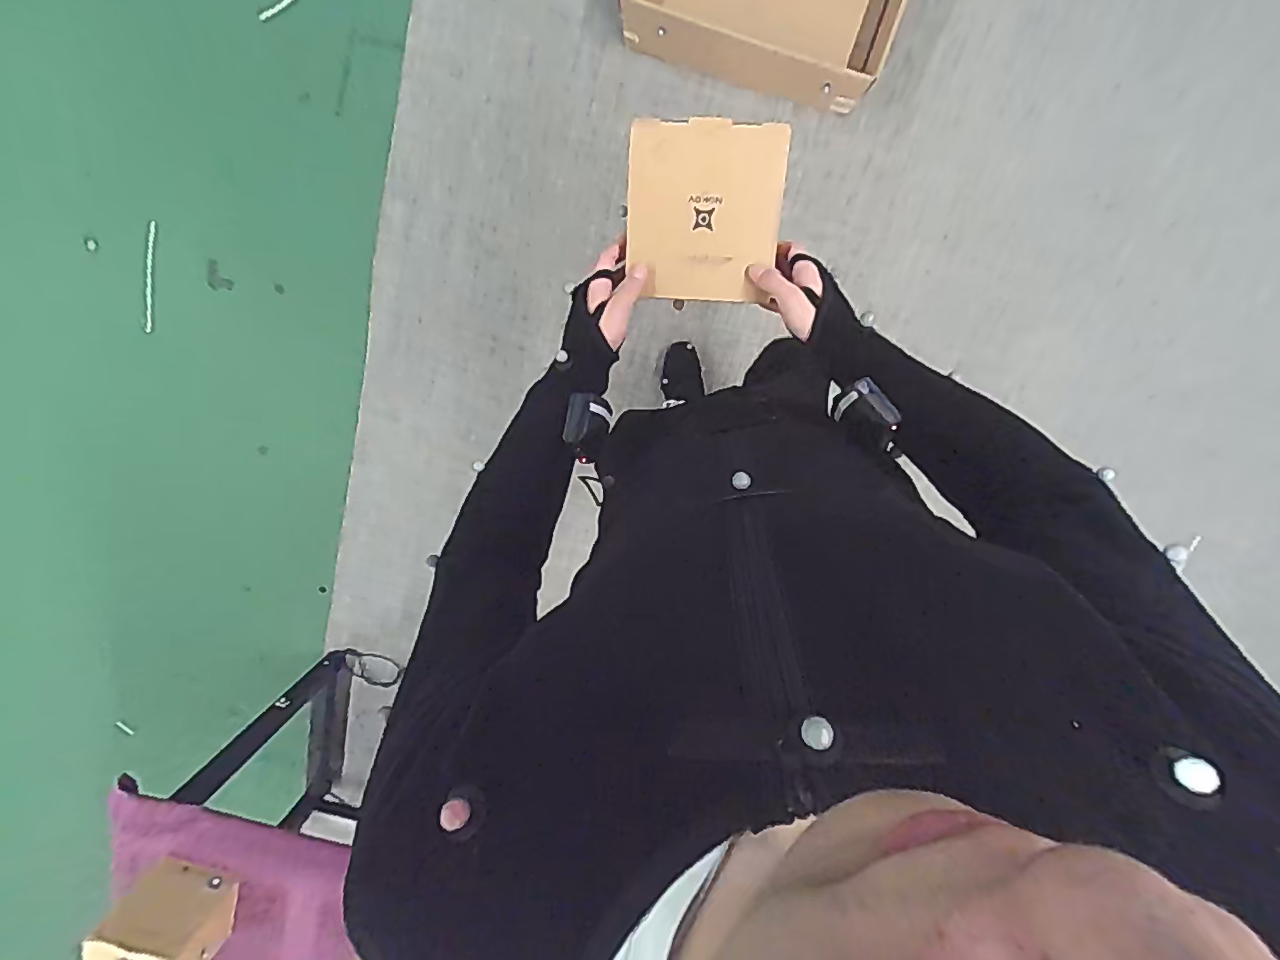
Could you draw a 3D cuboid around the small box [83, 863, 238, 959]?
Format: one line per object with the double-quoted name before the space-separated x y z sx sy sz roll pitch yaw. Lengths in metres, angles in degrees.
"small box" -0.943 0.912 1.073 0.168 0.176 0.179 18 106 -3
